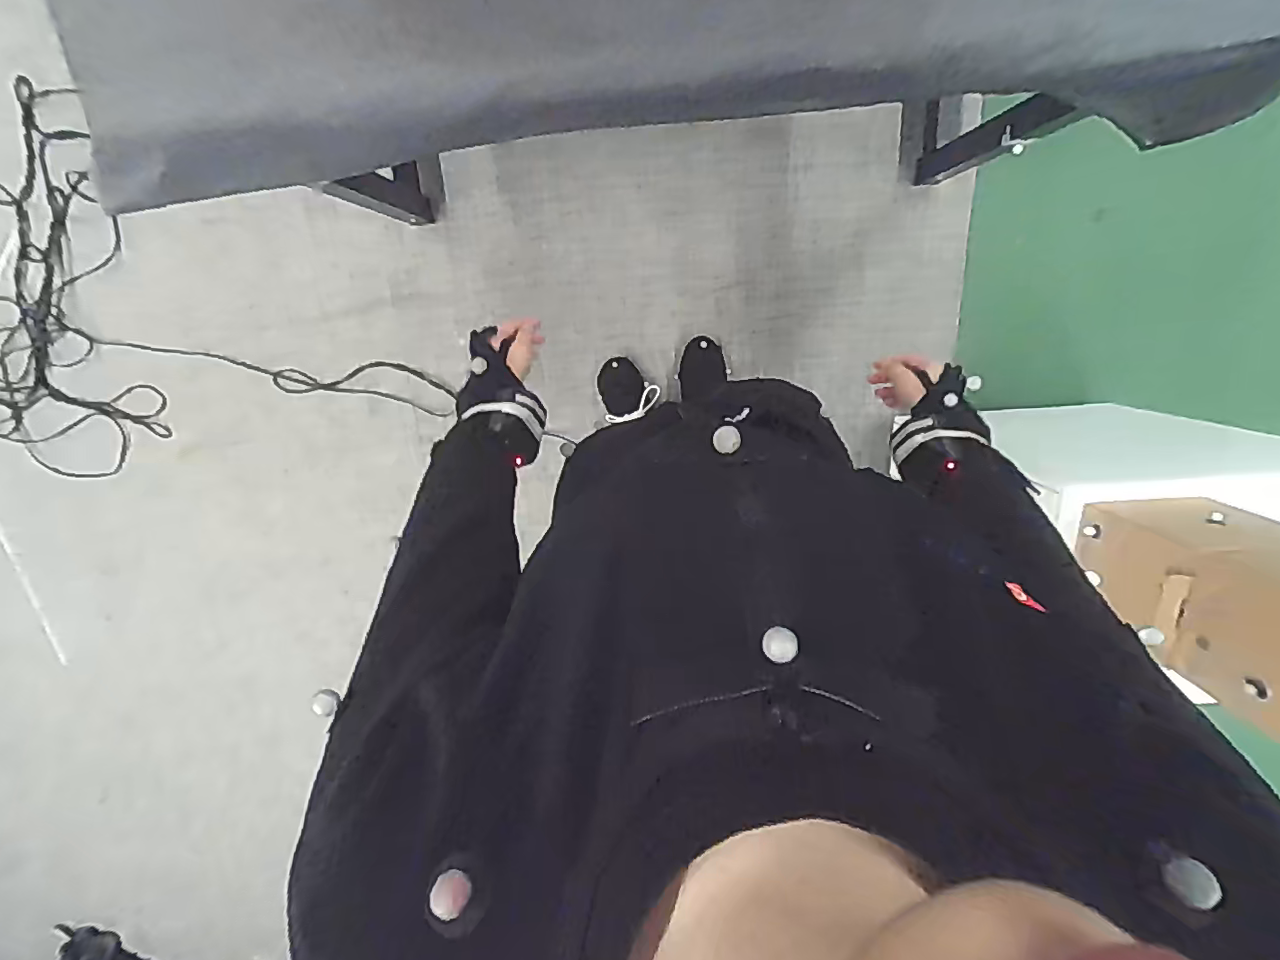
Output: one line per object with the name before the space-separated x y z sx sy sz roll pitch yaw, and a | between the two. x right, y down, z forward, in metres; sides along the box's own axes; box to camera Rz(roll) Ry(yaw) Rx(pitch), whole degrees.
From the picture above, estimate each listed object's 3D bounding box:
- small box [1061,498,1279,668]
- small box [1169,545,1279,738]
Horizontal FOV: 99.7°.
small box | 0.723 0.130 0.730 0.179 0.176 0.168 -4 108 -1
small box | 0.733 0.177 0.575 0.179 0.176 0.168 -6 109 0
